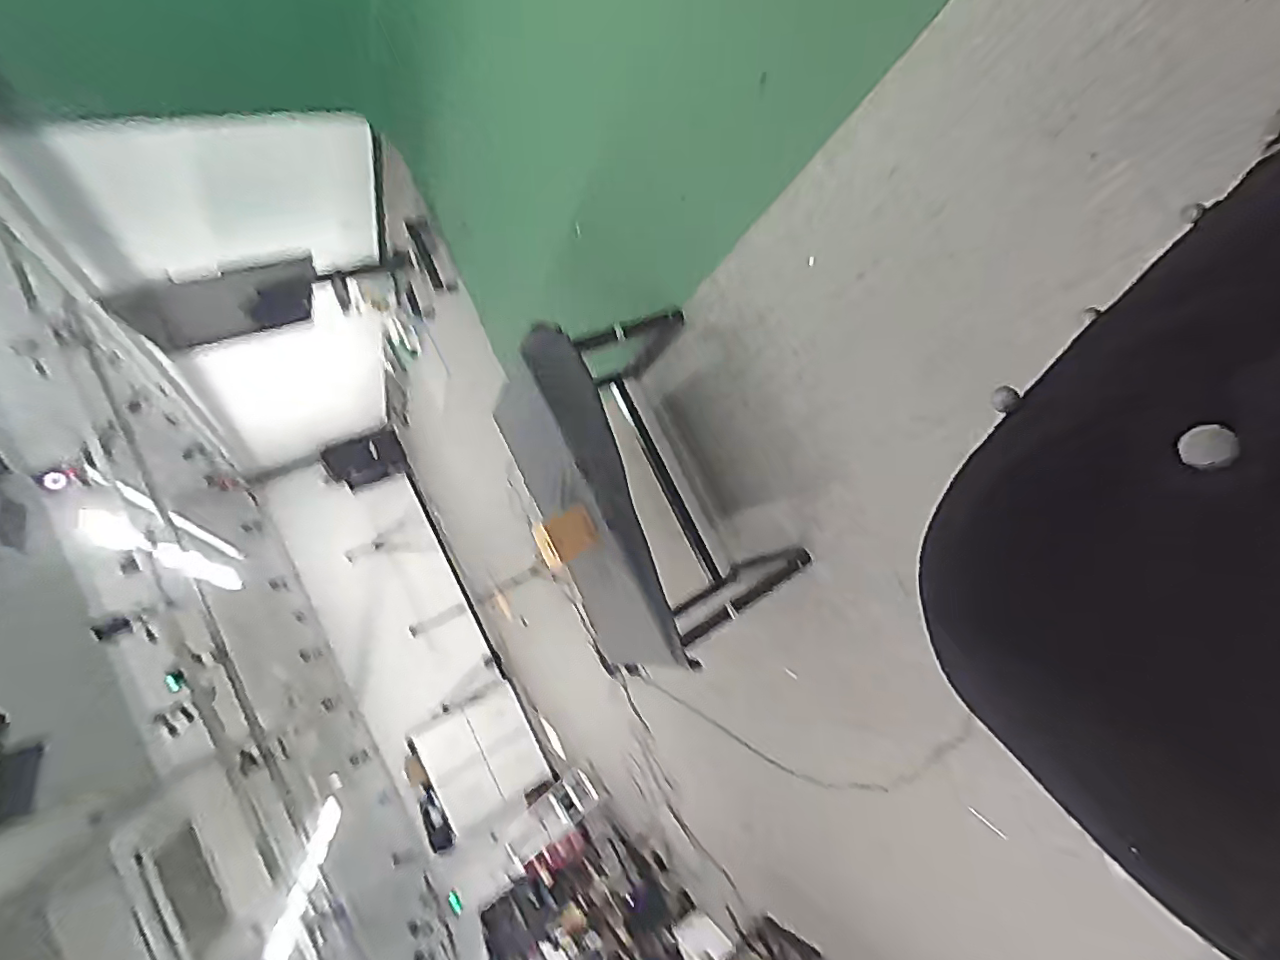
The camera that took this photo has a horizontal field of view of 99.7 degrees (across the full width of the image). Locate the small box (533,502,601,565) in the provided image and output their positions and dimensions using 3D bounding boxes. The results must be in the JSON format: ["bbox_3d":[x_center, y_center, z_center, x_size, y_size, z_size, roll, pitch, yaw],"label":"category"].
[{"bbox_3d":[-0.262,0.193,1.955,0.168,0.176,0.179,64,153,3],"label":"small box"}]
